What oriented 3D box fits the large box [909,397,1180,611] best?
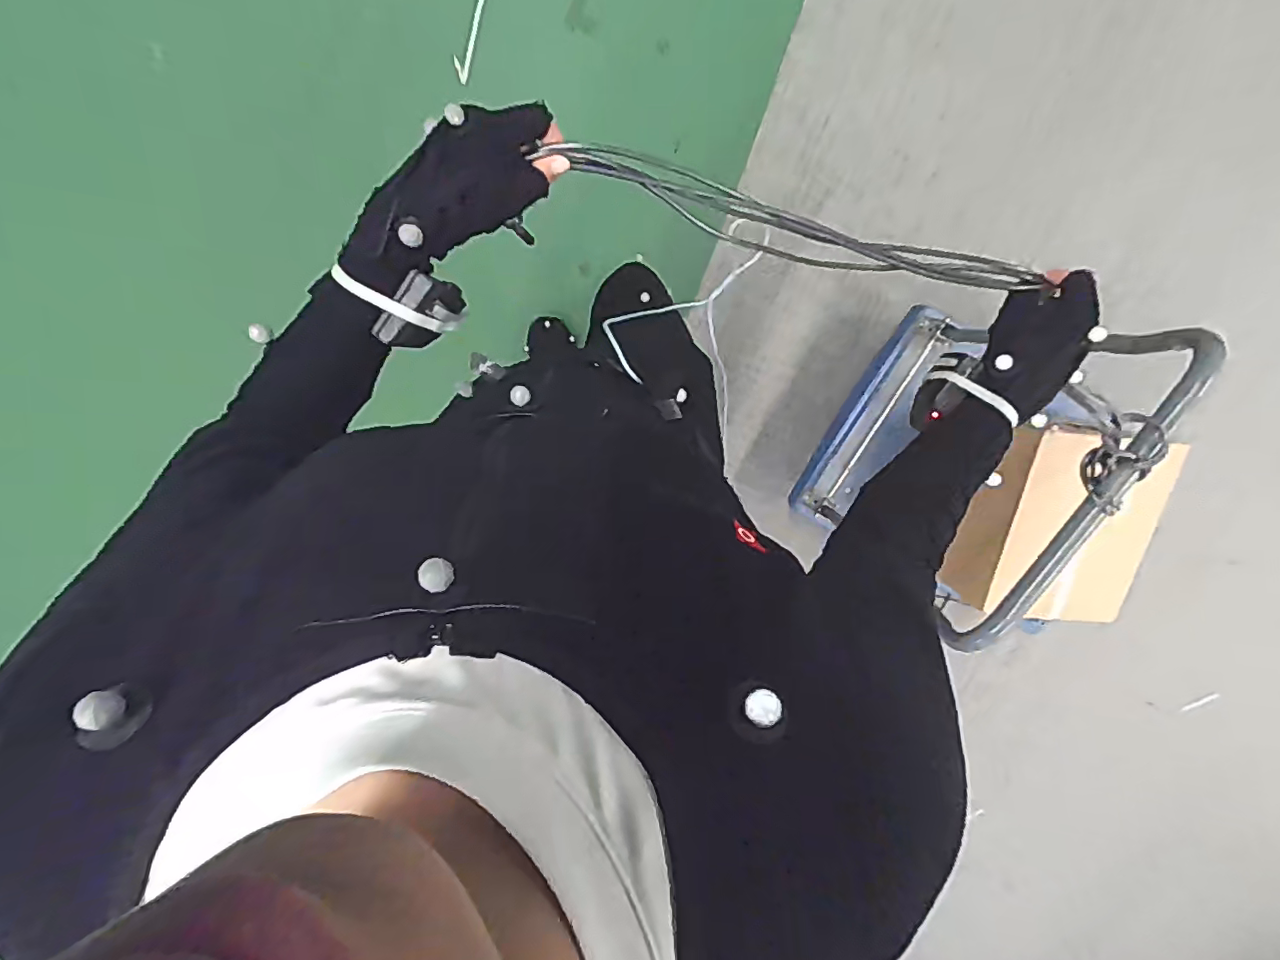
[{"bbox_3d":[0.890,0.043,1.255,0.320,0.320,0.408,6,107,-6],"label":"large box"}]
